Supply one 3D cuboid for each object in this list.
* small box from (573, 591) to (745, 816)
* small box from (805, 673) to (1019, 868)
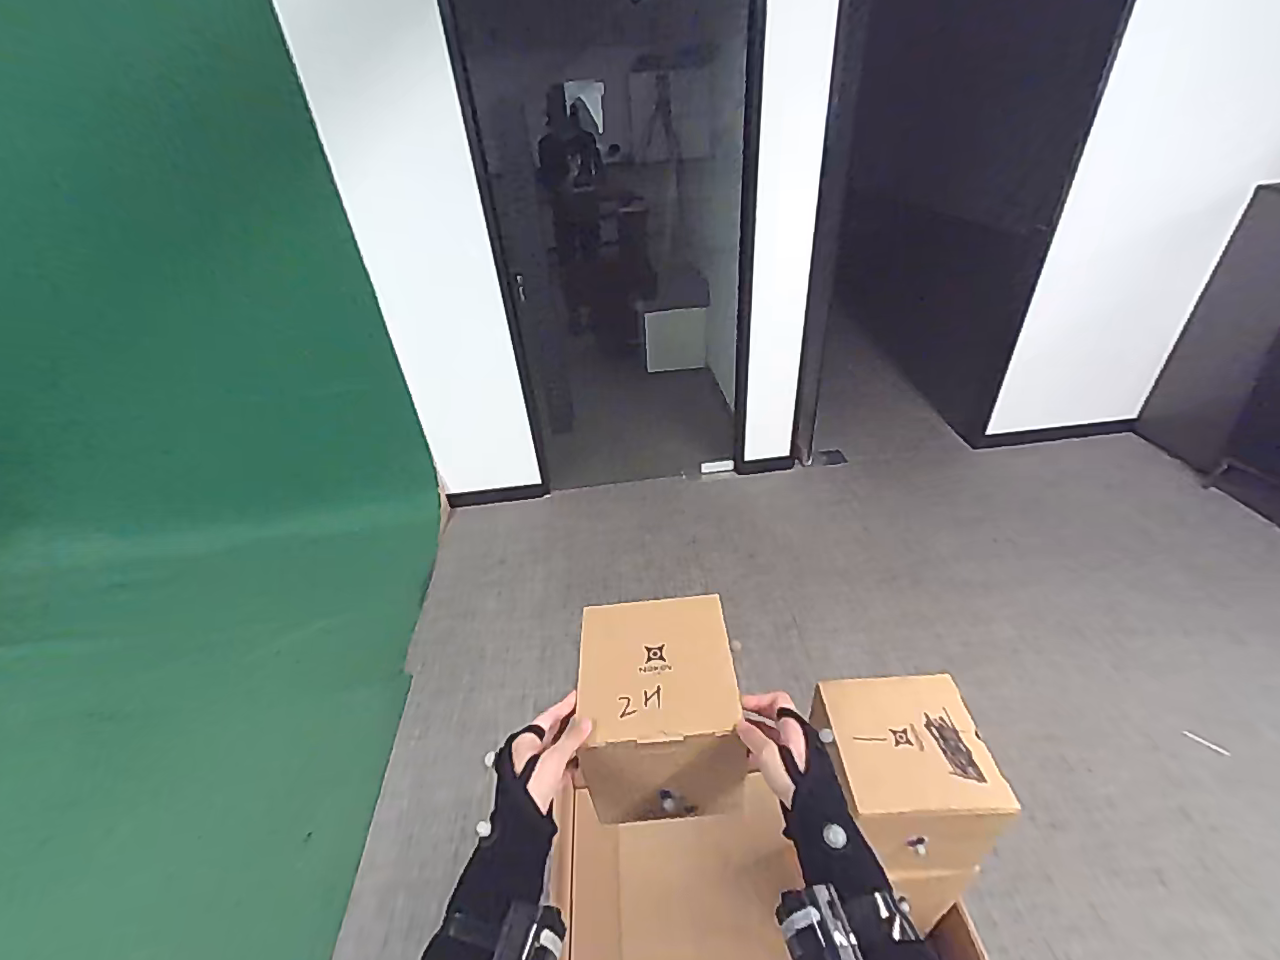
[{"bbox_3d":[0.023,0.253,0.622,0.168,0.176,0.179,-6,36,2],"label":"small box"},{"bbox_3d":[0.323,0.367,0.686,0.179,0.176,0.168,-4,36,3],"label":"small box"}]
